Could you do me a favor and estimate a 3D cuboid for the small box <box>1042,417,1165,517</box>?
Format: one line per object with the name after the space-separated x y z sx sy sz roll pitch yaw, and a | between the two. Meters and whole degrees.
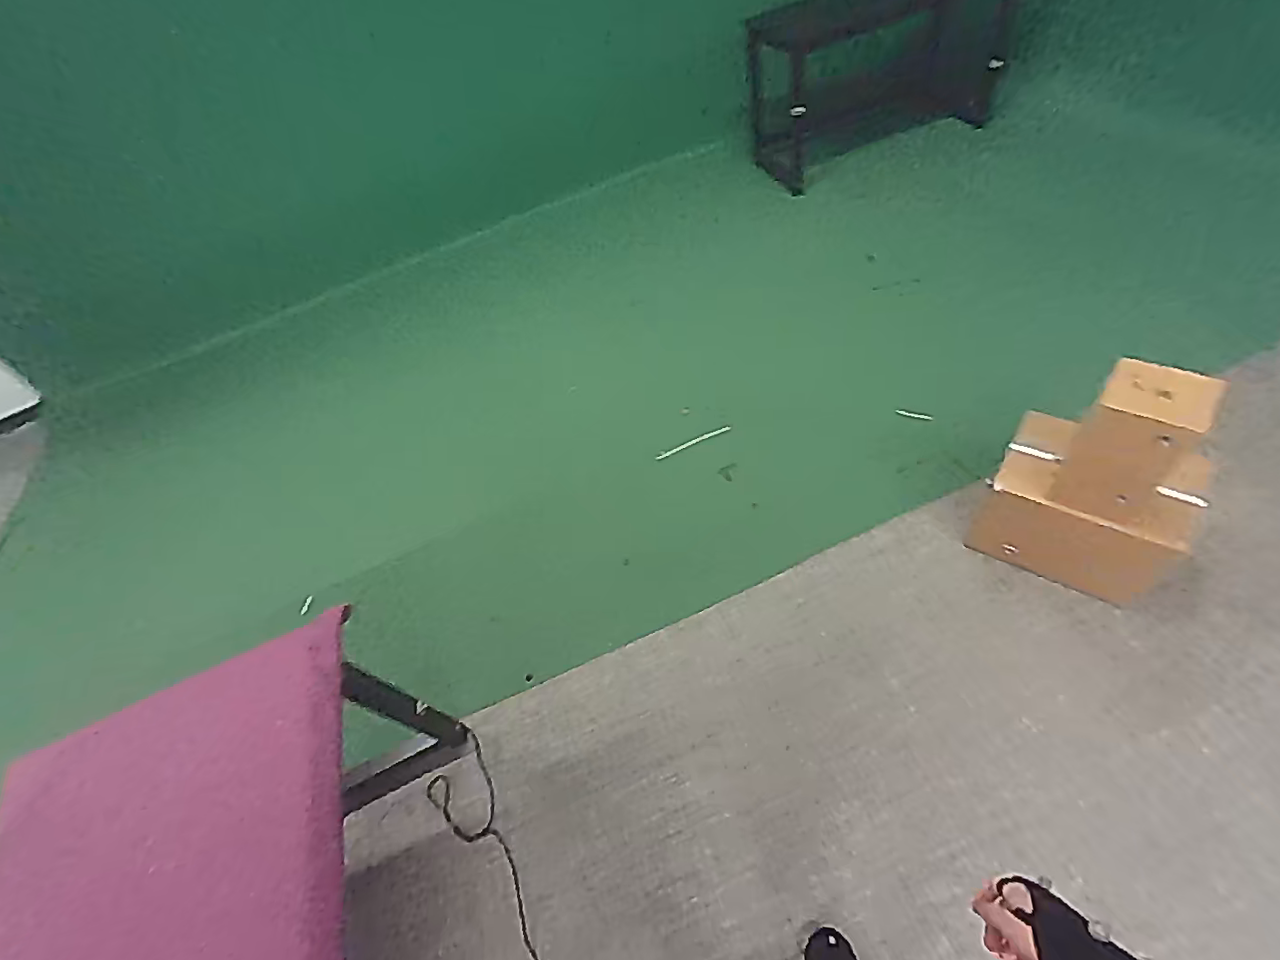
1.110 -0.035 1.290 0.179 0.176 0.168 26 64 31 | small box

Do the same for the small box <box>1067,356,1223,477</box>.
1.074 -0.132 1.162 0.179 0.176 0.168 28 64 31 | small box
